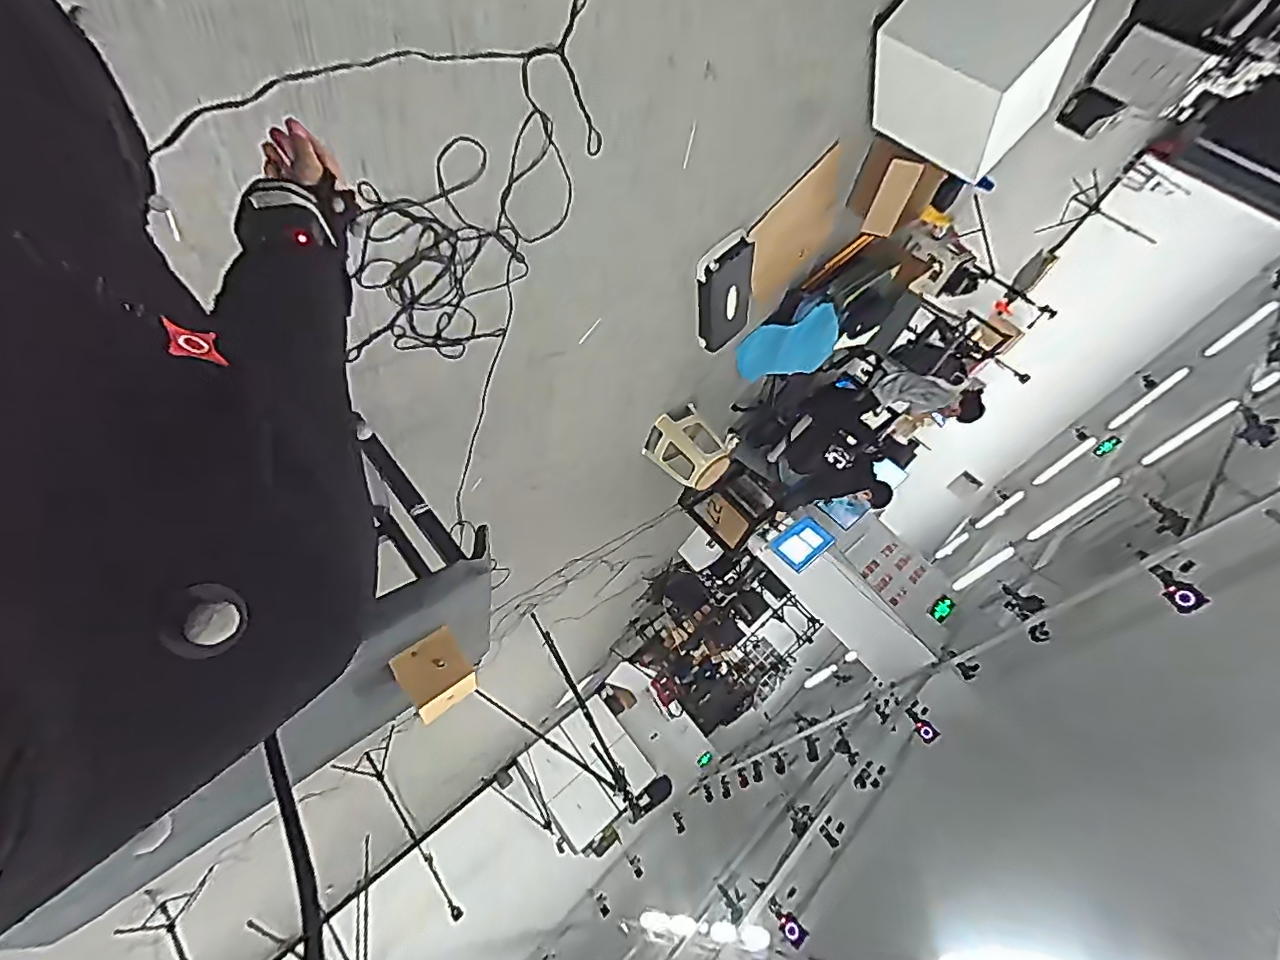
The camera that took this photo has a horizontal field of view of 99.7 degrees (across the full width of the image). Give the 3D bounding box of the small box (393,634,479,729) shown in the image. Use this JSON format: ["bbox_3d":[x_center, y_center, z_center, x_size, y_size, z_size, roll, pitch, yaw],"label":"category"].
[{"bbox_3d":[-0.573,0.562,1.527,0.168,0.176,0.179,-31,157,-31],"label":"small box"}]
